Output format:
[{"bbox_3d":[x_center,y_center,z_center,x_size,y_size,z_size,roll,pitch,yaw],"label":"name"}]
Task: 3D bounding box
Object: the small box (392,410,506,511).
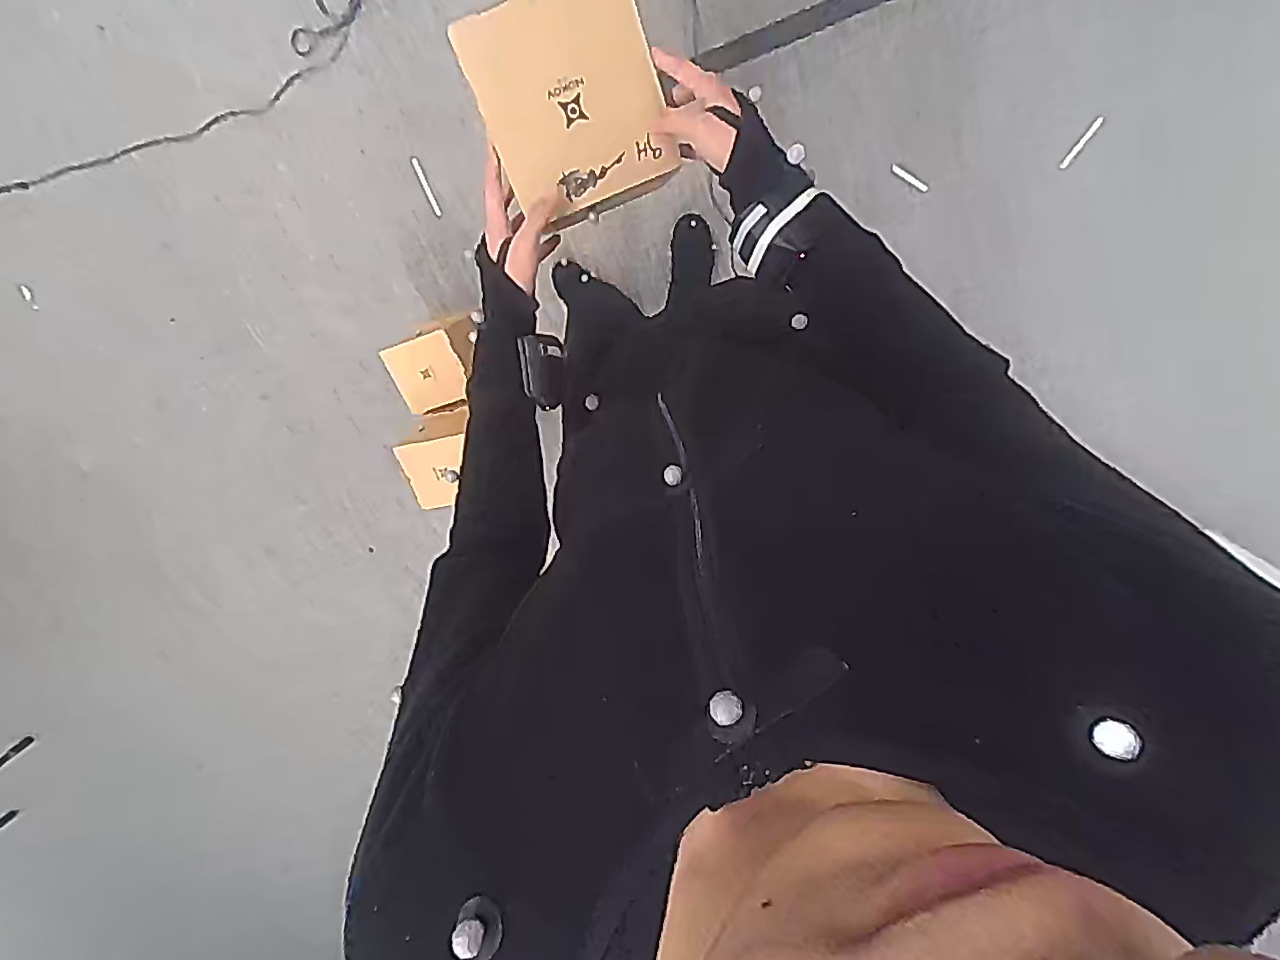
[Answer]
[{"bbox_3d":[-0.437,-0.050,1.270,0.179,0.176,0.168,-10,117,7],"label":"small box"}]
